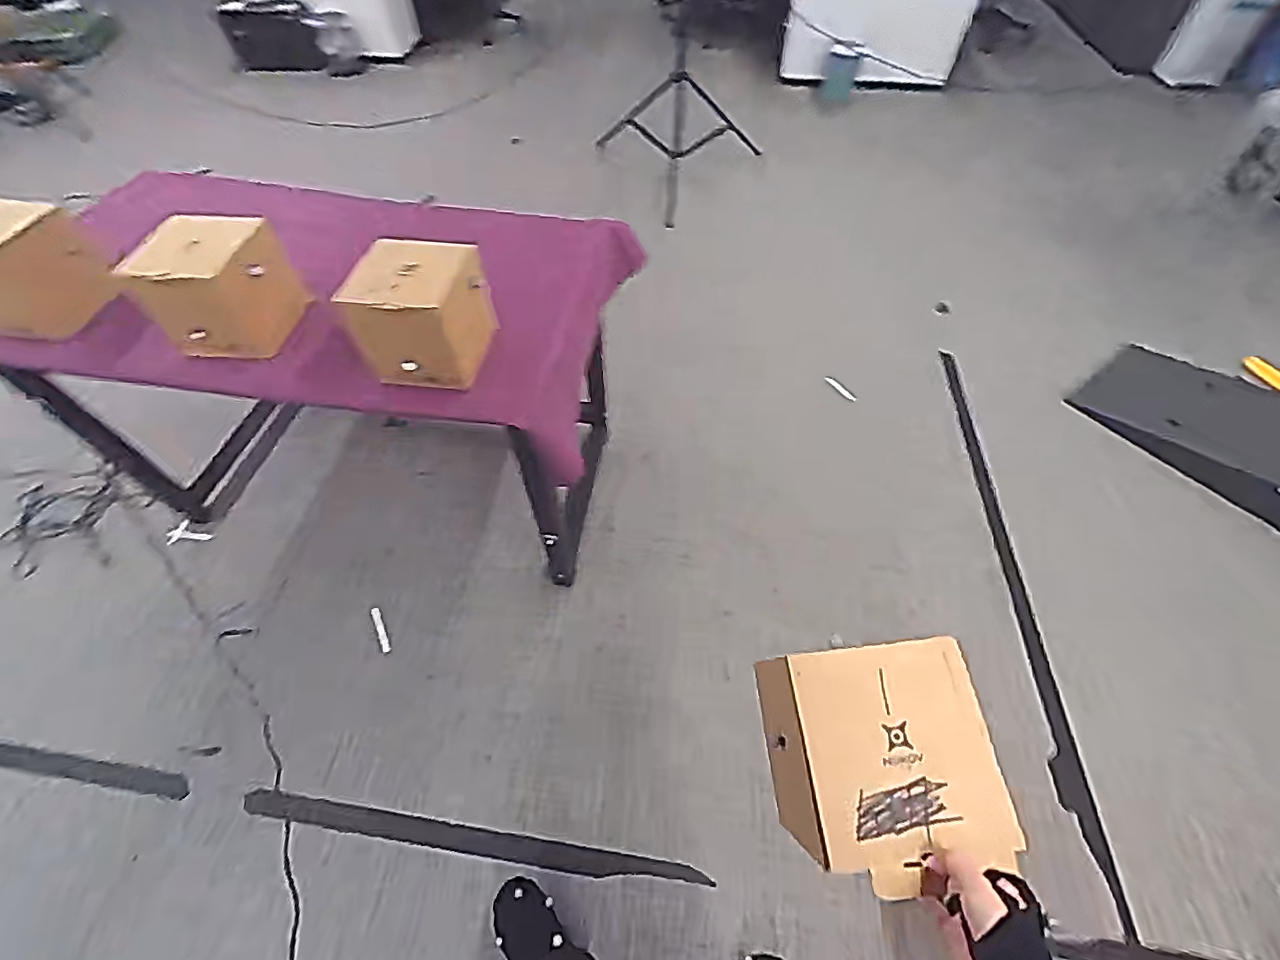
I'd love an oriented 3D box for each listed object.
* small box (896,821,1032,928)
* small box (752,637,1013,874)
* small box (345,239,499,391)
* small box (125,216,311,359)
[{"bbox_3d":[0.620,0.764,1.073,0.179,0.176,0.168,6,56,3],"label":"small box"},{"bbox_3d":[0.222,0.264,0.551,0.168,0.176,0.179,-6,68,-3],"label":"small box"},{"bbox_3d":[-0.349,-0.276,0.911,0.168,0.176,0.179,6,55,6],"label":"small box"},{"bbox_3d":[-0.724,-0.339,0.958,0.168,0.176,0.179,3,55,2],"label":"small box"}]
